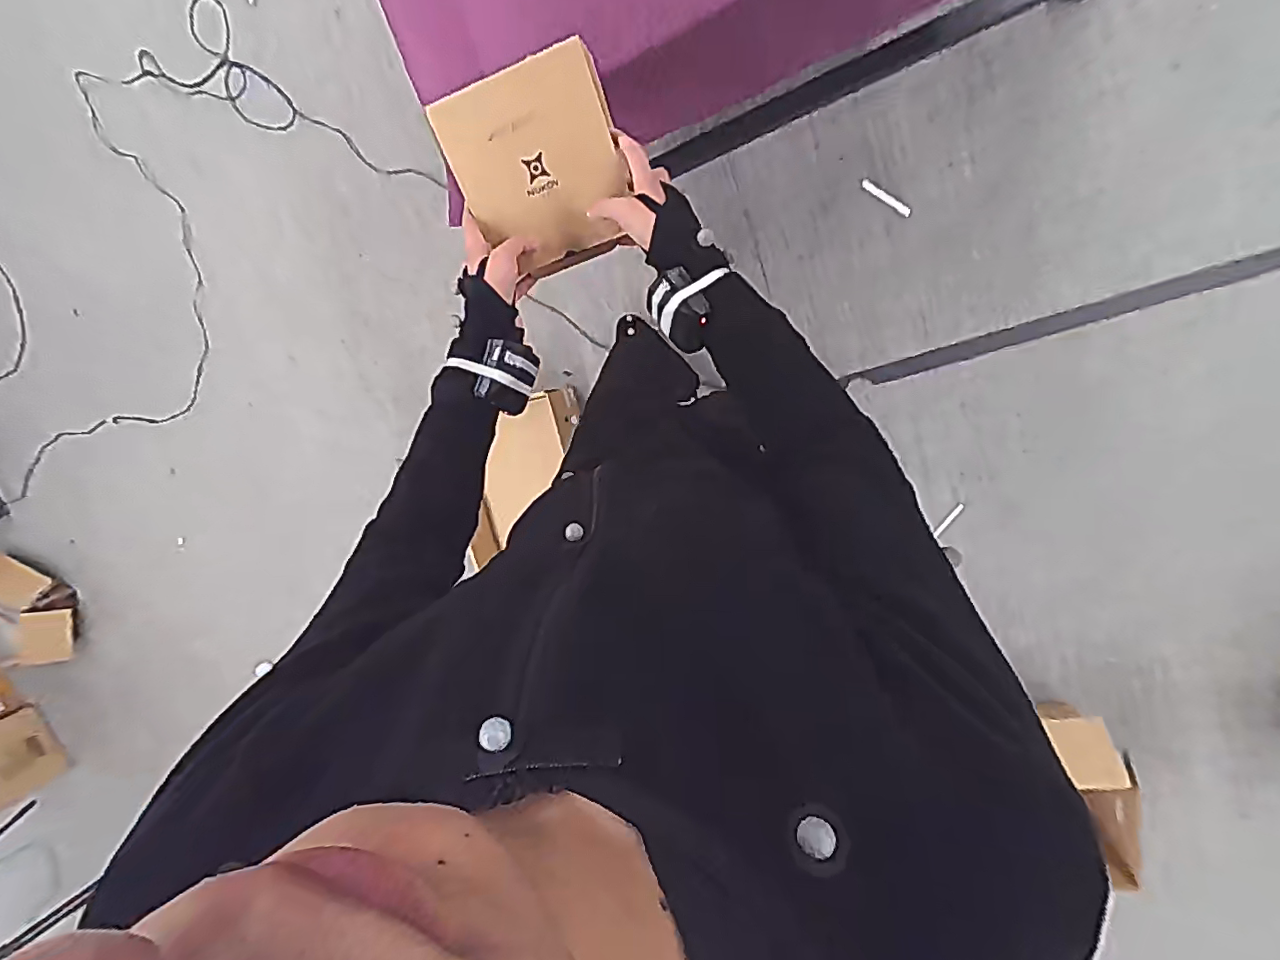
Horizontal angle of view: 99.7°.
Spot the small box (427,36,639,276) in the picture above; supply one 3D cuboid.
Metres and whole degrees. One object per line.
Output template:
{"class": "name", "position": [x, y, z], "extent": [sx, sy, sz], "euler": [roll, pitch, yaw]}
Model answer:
{"class": "small box", "position": [-0.103, -0.363, 0.617], "extent": [0.168, 0.176, 0.179], "euler": [-17, 122, 10]}
